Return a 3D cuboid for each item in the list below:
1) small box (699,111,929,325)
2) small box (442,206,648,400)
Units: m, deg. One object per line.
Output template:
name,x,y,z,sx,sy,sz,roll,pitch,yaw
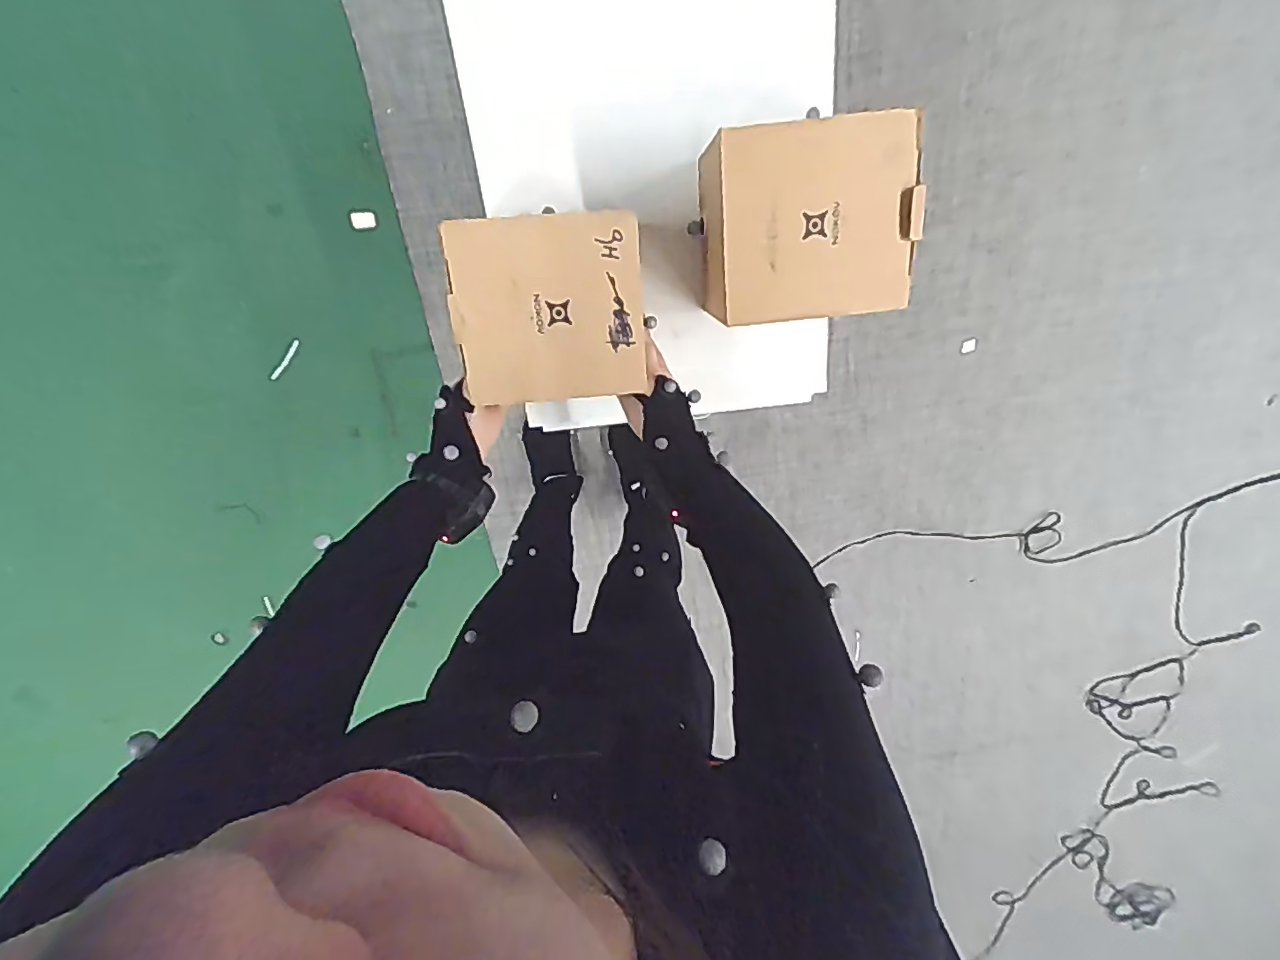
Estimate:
small box,0.161,-0.260,0.556,0.179,0.176,0.168,-5,113,1
small box,-0.085,-0.187,0.572,0.179,0.176,0.168,-5,112,-2
